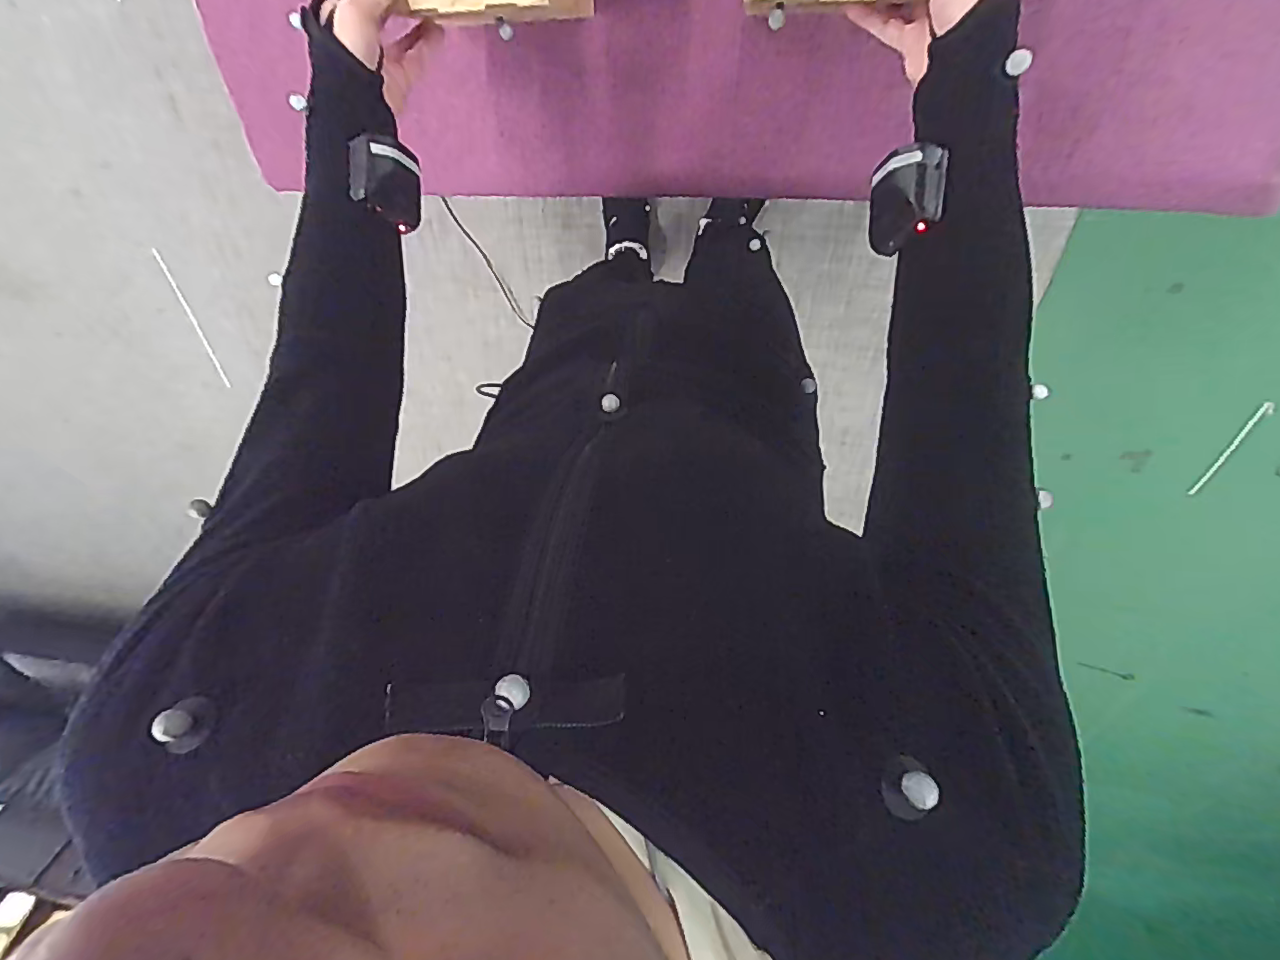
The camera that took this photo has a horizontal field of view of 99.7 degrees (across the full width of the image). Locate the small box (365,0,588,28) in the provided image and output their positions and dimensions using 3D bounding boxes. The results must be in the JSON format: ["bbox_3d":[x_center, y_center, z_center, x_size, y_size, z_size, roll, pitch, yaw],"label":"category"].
[{"bbox_3d":[-0.148,-0.519,0.476,0.168,0.176,0.179,4,129,8],"label":"small box"}]
